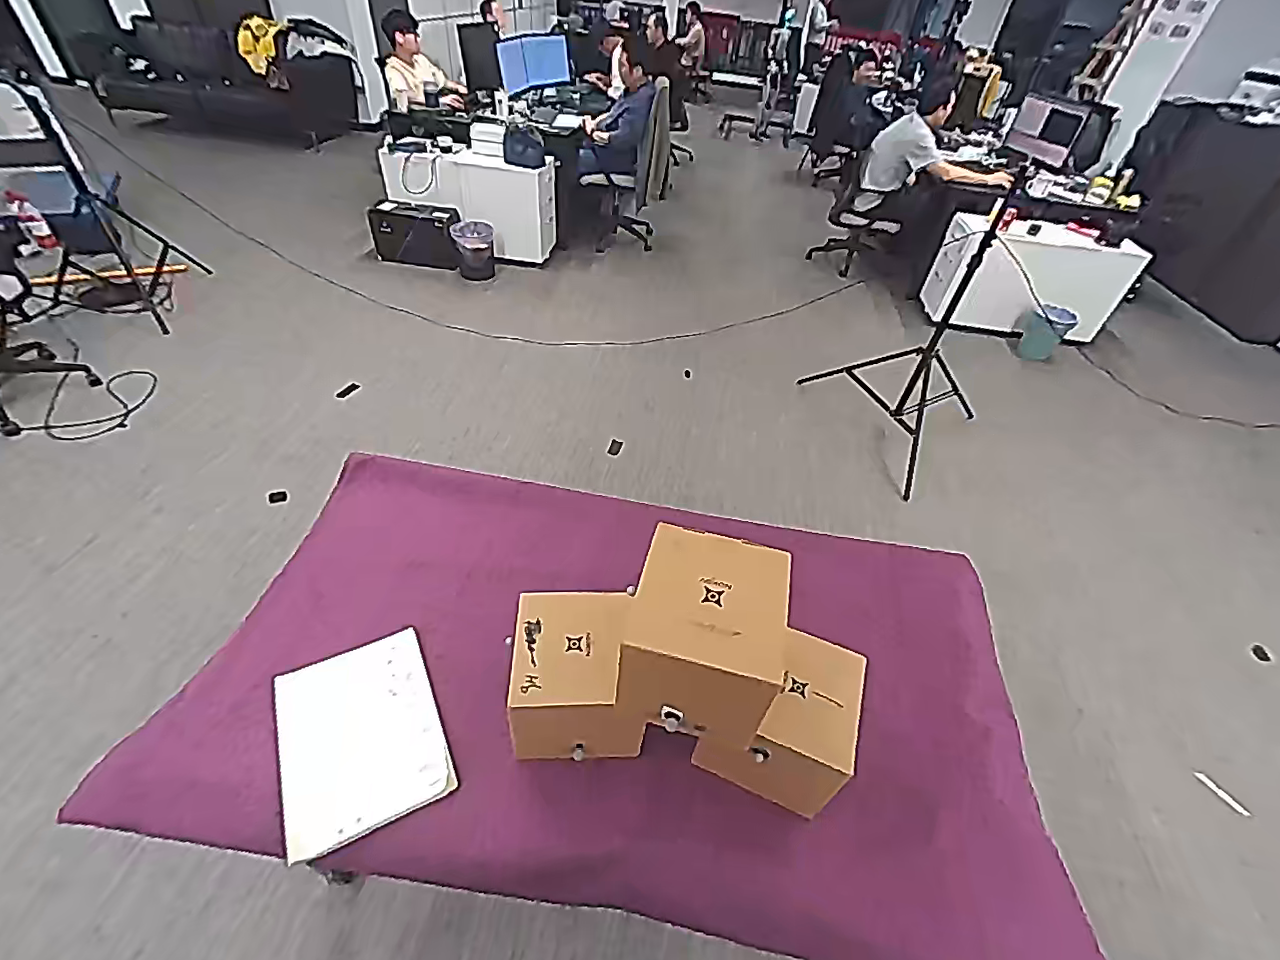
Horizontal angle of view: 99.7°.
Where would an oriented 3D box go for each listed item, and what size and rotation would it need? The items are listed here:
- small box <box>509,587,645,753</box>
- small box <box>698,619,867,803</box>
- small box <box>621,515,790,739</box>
[{"bbox_3d":[-0.083,0.269,0.765,0.179,0.176,0.168,2,42,-6],"label":"small box"},{"bbox_3d":[0.191,0.311,0.749,0.179,0.176,0.168,19,44,14],"label":"small box"},{"bbox_3d":[0.075,0.174,0.646,0.168,0.176,0.179,11,43,8],"label":"small box"}]
